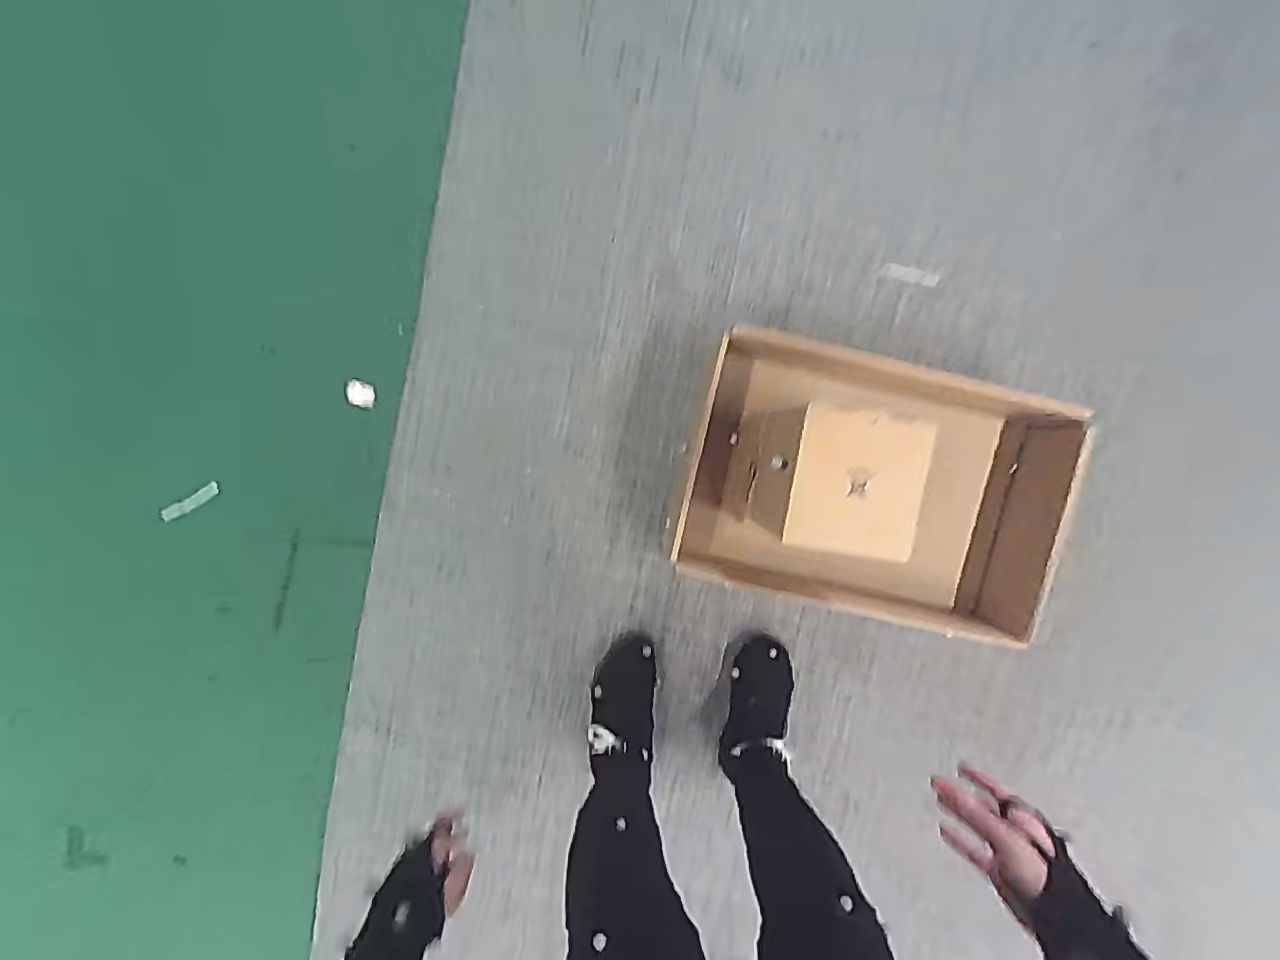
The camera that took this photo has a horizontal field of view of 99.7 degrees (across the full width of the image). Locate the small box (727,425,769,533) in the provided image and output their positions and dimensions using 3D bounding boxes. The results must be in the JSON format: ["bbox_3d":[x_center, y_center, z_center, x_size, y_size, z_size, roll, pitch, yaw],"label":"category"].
[{"bbox_3d":[0.254,0.007,0.904,0.179,0.176,0.168,11,94,-4],"label":"small box"}]

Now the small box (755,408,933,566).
[{"bbox_3d":[0.264,0.005,0.742,0.168,0.176,0.179,9,93,-2],"label":"small box"}]
